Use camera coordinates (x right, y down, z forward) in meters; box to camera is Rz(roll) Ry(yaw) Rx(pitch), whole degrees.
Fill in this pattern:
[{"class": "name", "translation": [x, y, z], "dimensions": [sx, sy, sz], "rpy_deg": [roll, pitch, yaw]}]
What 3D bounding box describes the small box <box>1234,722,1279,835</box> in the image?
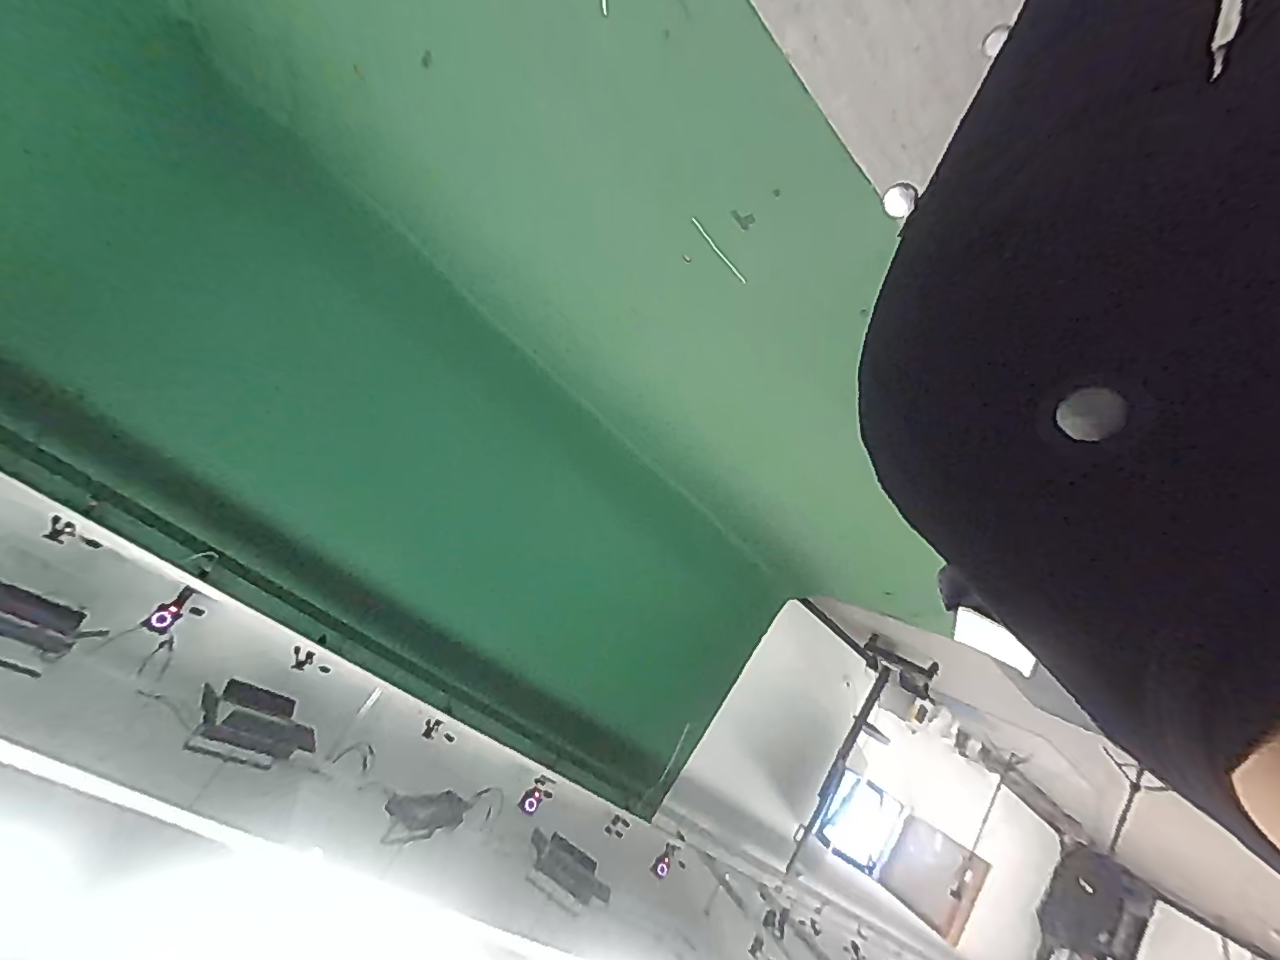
[{"class": "small box", "translation": [1.264, 0.580, 0.992], "dimensions": [0.168, 0.176, 0.179], "rpy_deg": [40, 166, -18]}]
